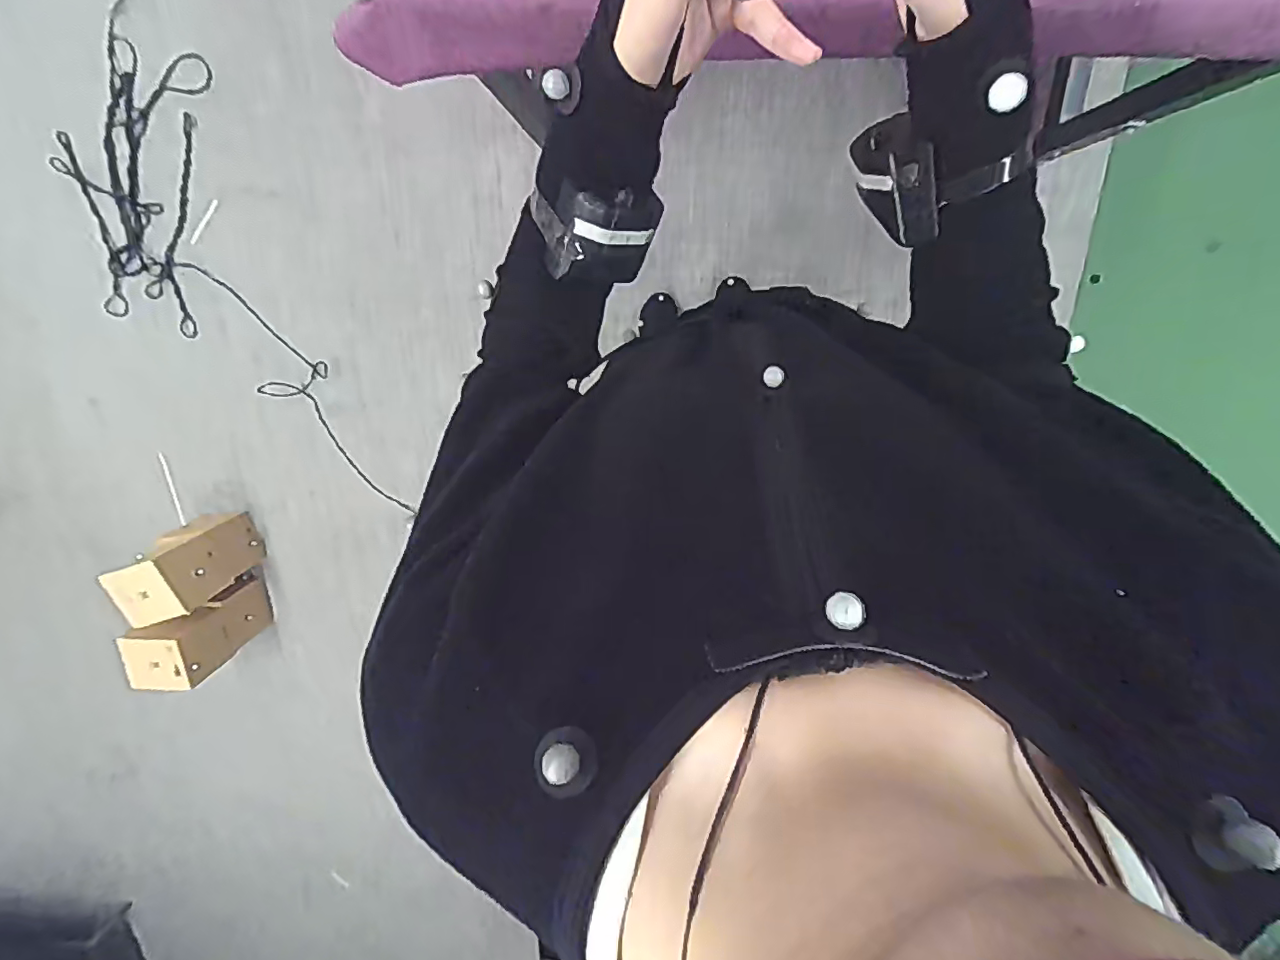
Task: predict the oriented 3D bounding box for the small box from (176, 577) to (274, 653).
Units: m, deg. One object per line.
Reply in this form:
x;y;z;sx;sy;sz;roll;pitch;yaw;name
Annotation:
-1.290;0.414;1.684;0.168;0.176;0.179;1;109;5;small box

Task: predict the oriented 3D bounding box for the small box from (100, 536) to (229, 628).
-1.268;0.269;1.463;0.179;0.176;0.168;-16;107;10;small box
